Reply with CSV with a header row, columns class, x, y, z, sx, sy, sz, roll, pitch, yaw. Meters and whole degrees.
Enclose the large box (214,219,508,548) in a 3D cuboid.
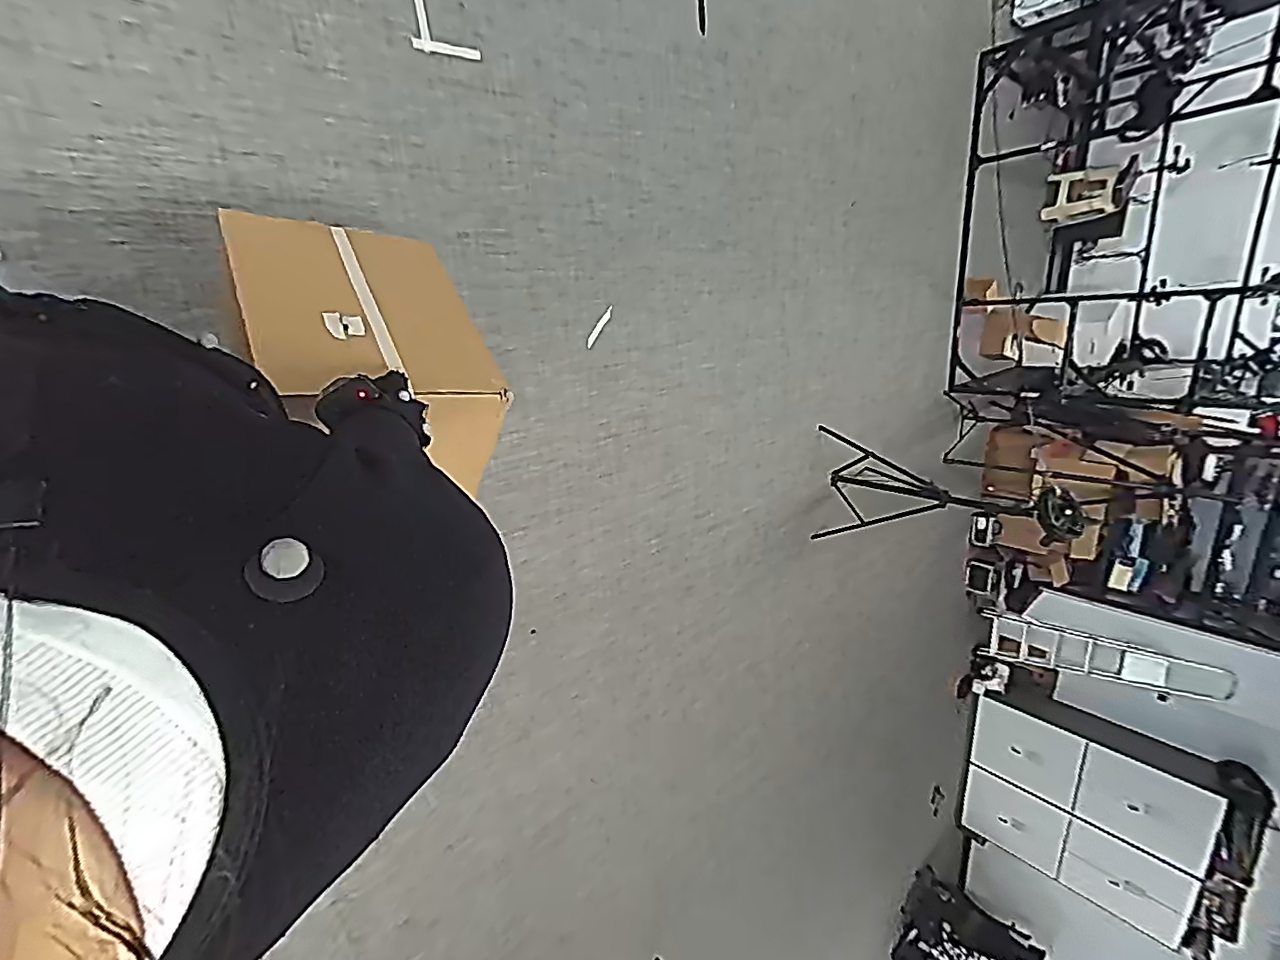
class,x,y,z,sx,sy,sz,roll,pitch,yaw
large box,-0.477,-0.156,0.899,0.320,0.408,0.320,-9,146,-39
